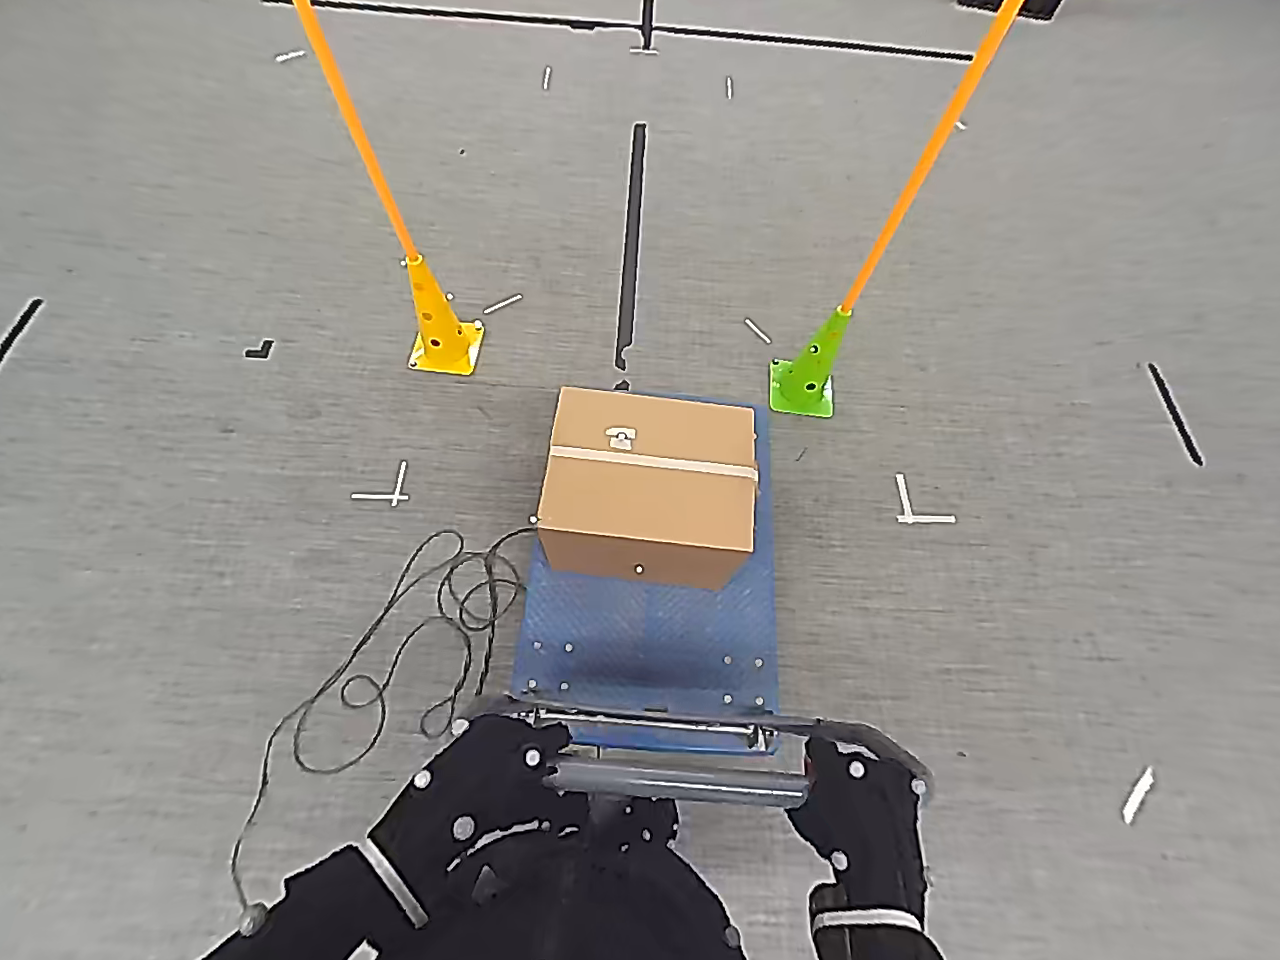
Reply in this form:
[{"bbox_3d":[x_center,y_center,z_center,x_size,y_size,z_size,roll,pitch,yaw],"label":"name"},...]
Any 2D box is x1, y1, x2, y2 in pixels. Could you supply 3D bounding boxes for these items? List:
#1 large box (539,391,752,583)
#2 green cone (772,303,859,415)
[{"bbox_3d":[0.018,0.031,1.198,0.408,0.320,0.320,7,65,0],"label":"large box"},{"bbox_3d":[0.536,-0.374,1.580,0.202,0.368,0.200,8,65,-2],"label":"green cone"}]
